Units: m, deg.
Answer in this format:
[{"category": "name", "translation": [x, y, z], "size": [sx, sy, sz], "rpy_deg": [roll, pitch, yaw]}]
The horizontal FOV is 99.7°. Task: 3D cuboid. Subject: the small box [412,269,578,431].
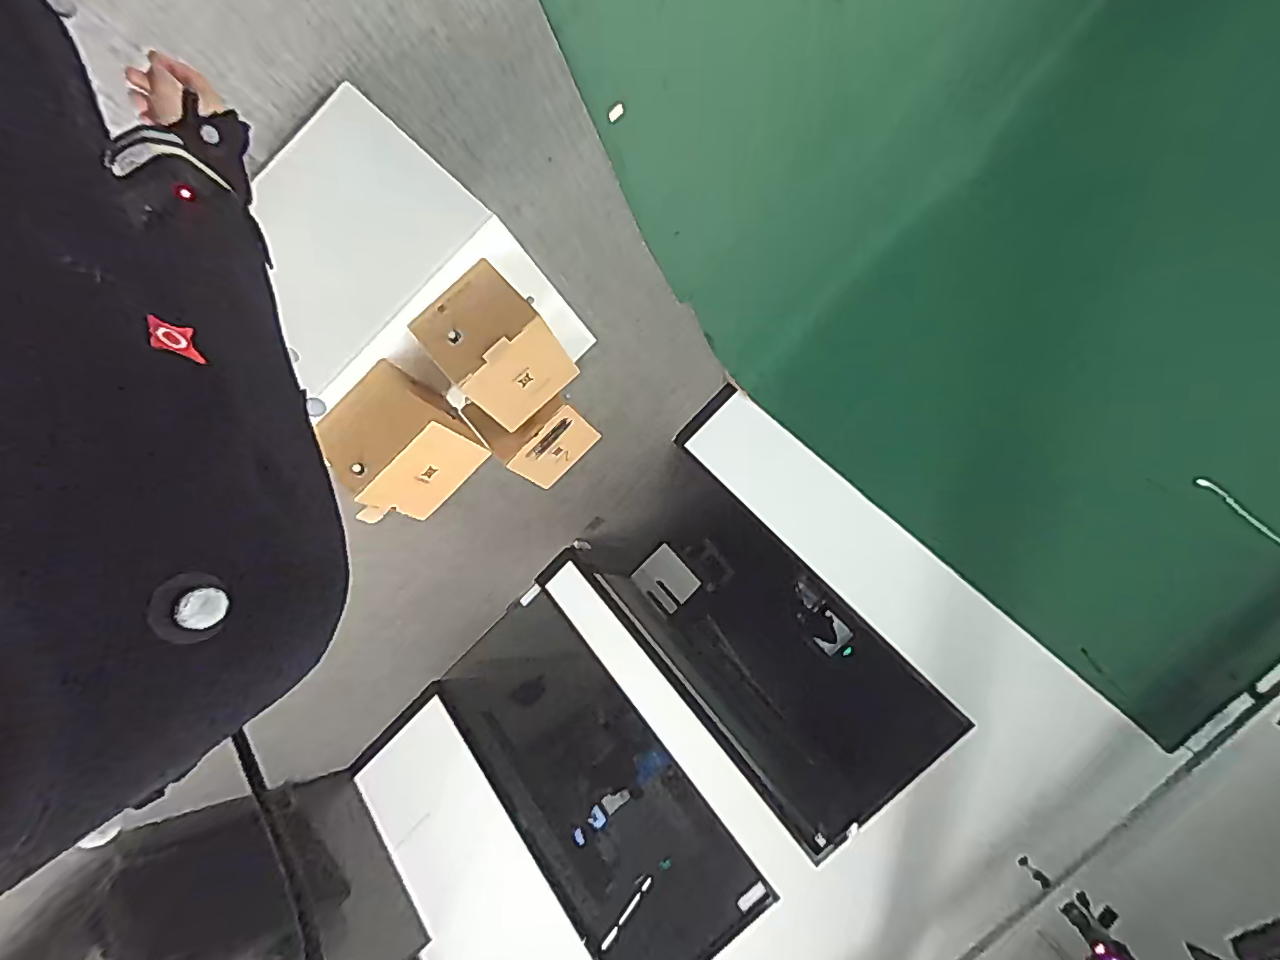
[{"category": "small box", "translation": [-0.239, -0.219, 0.899], "size": [0.168, 0.176, 0.179], "rpy_deg": [-42, 158, 0]}]
